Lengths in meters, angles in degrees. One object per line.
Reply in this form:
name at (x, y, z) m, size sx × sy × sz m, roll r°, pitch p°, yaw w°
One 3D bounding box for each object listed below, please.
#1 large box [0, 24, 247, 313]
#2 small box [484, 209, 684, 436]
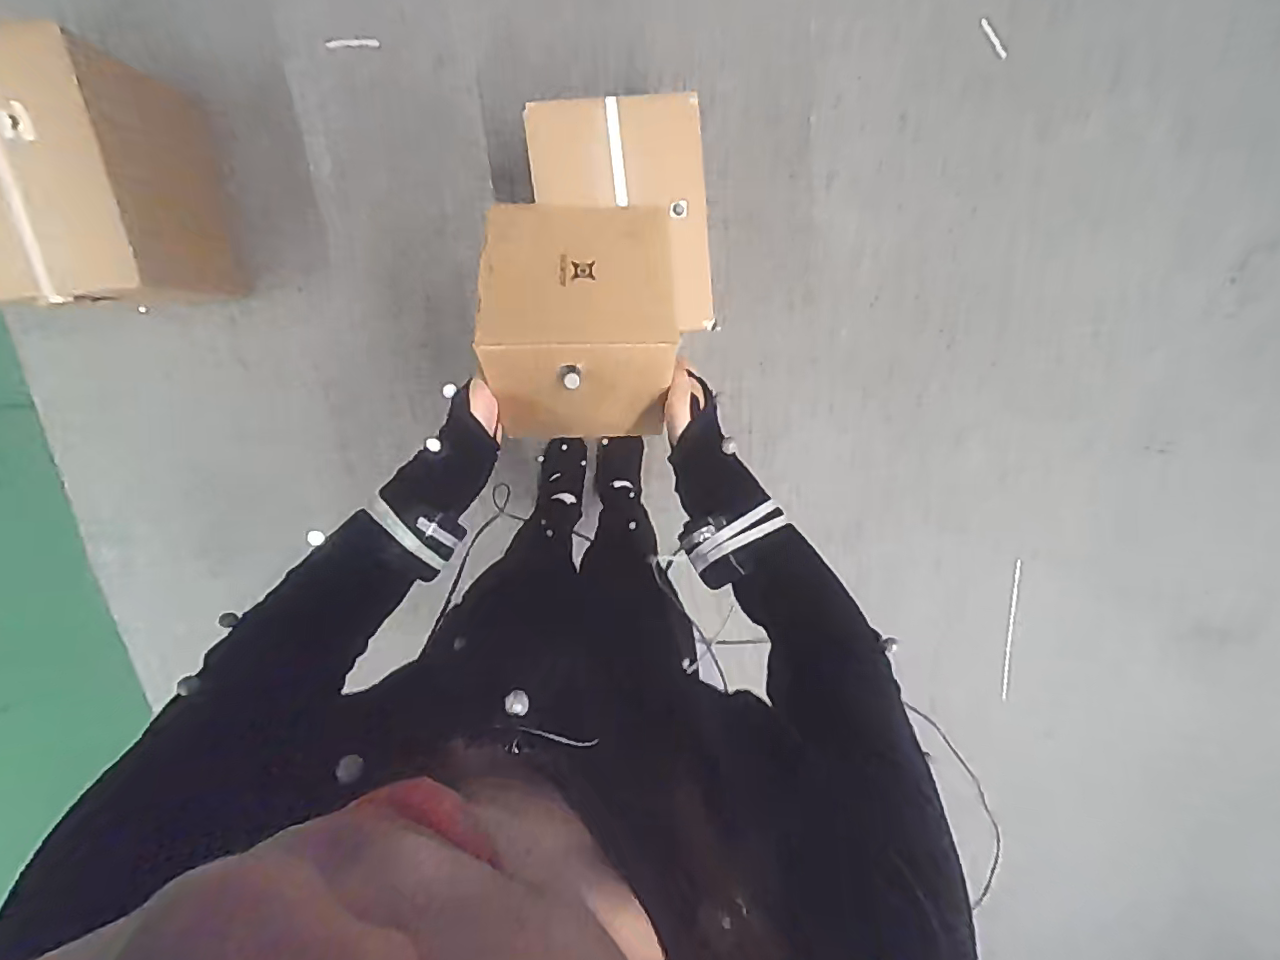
large box at (-1.061, -0.553, 1.047) m, size 0.320 × 0.320 × 0.408 m, roll -6°, pitch 105°, yaw -2°
small box at (-0.054, -0.156, 0.572) m, size 0.179 × 0.176 × 0.168 m, roll -2°, pitch 66°, yaw -3°
